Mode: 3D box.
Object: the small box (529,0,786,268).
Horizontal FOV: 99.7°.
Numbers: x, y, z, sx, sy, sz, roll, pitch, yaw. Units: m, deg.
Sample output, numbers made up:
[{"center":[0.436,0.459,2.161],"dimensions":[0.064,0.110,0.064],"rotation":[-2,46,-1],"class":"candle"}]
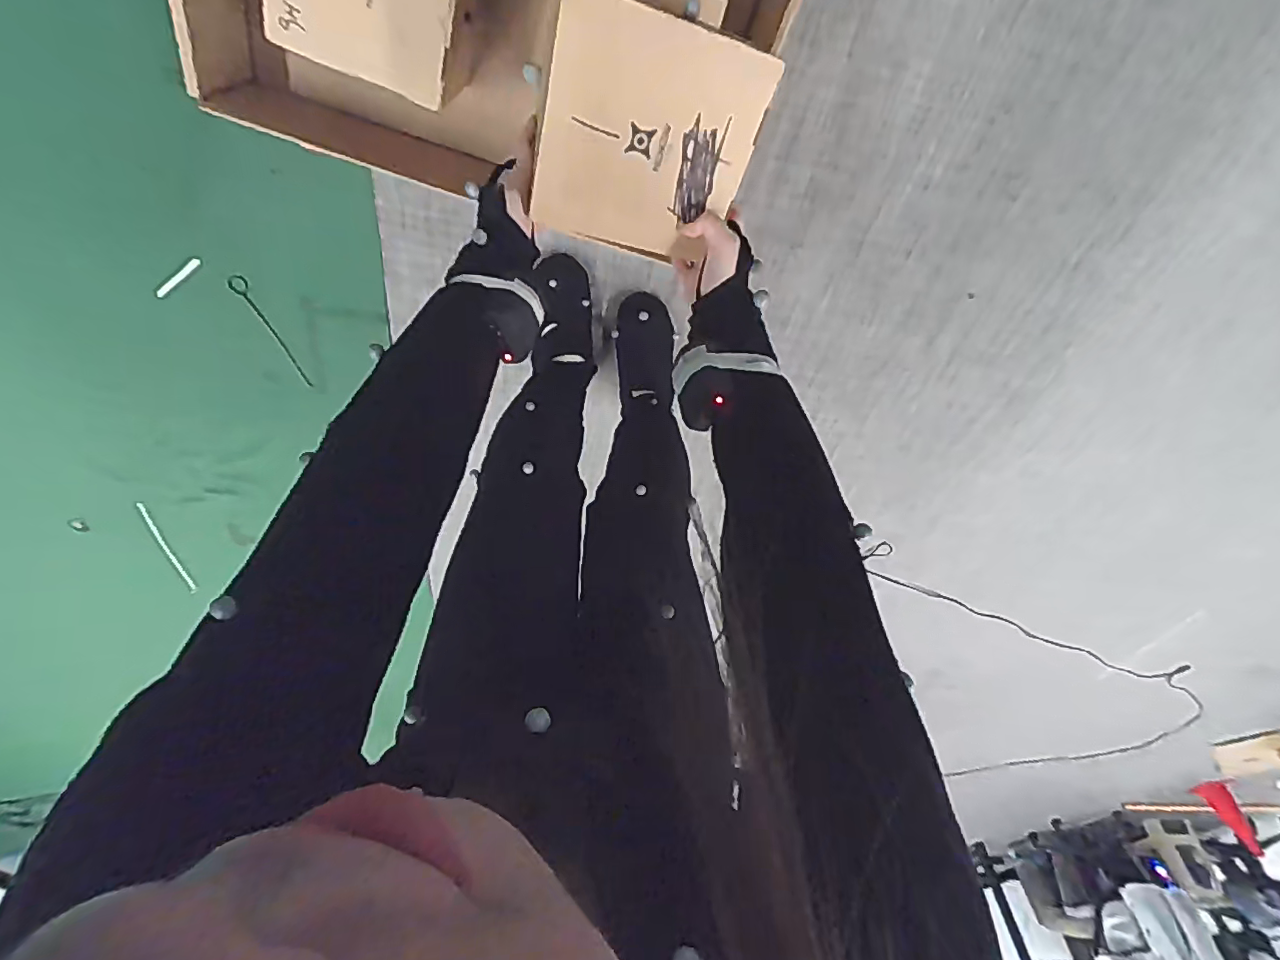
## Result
[{"center":[-0.002,-0.326,0.498],"dimensions":[0.179,0.176,0.168],"rotation":[7,133,-18],"class":"small box"}]
